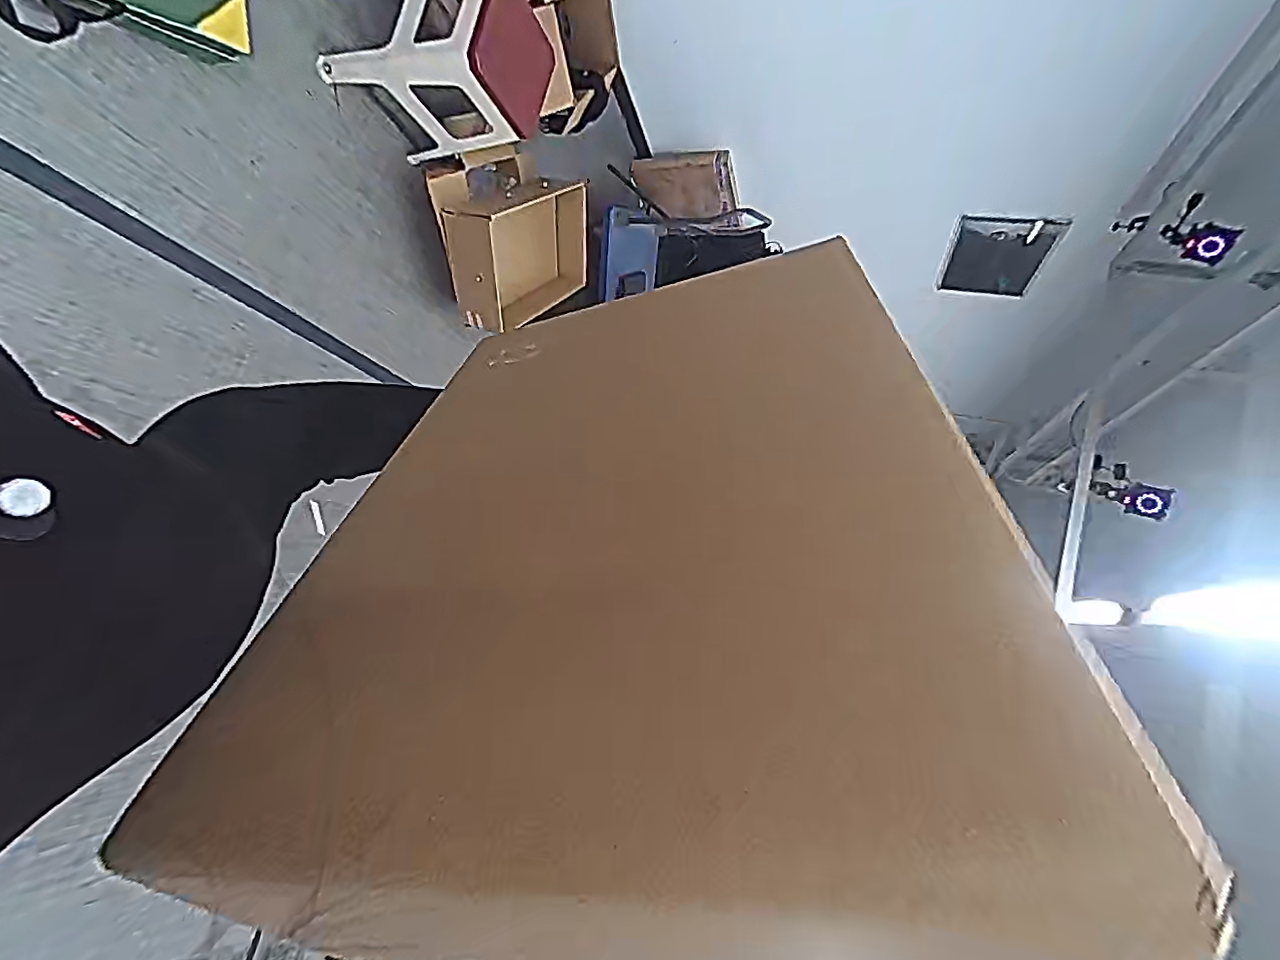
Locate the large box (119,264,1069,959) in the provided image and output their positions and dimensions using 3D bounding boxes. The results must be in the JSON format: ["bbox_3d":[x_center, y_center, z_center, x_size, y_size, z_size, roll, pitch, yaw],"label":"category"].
[{"bbox_3d":[0.024,0.093,0.385,0.408,0.320,0.320,-77,153,-50],"label":"large box"}]
